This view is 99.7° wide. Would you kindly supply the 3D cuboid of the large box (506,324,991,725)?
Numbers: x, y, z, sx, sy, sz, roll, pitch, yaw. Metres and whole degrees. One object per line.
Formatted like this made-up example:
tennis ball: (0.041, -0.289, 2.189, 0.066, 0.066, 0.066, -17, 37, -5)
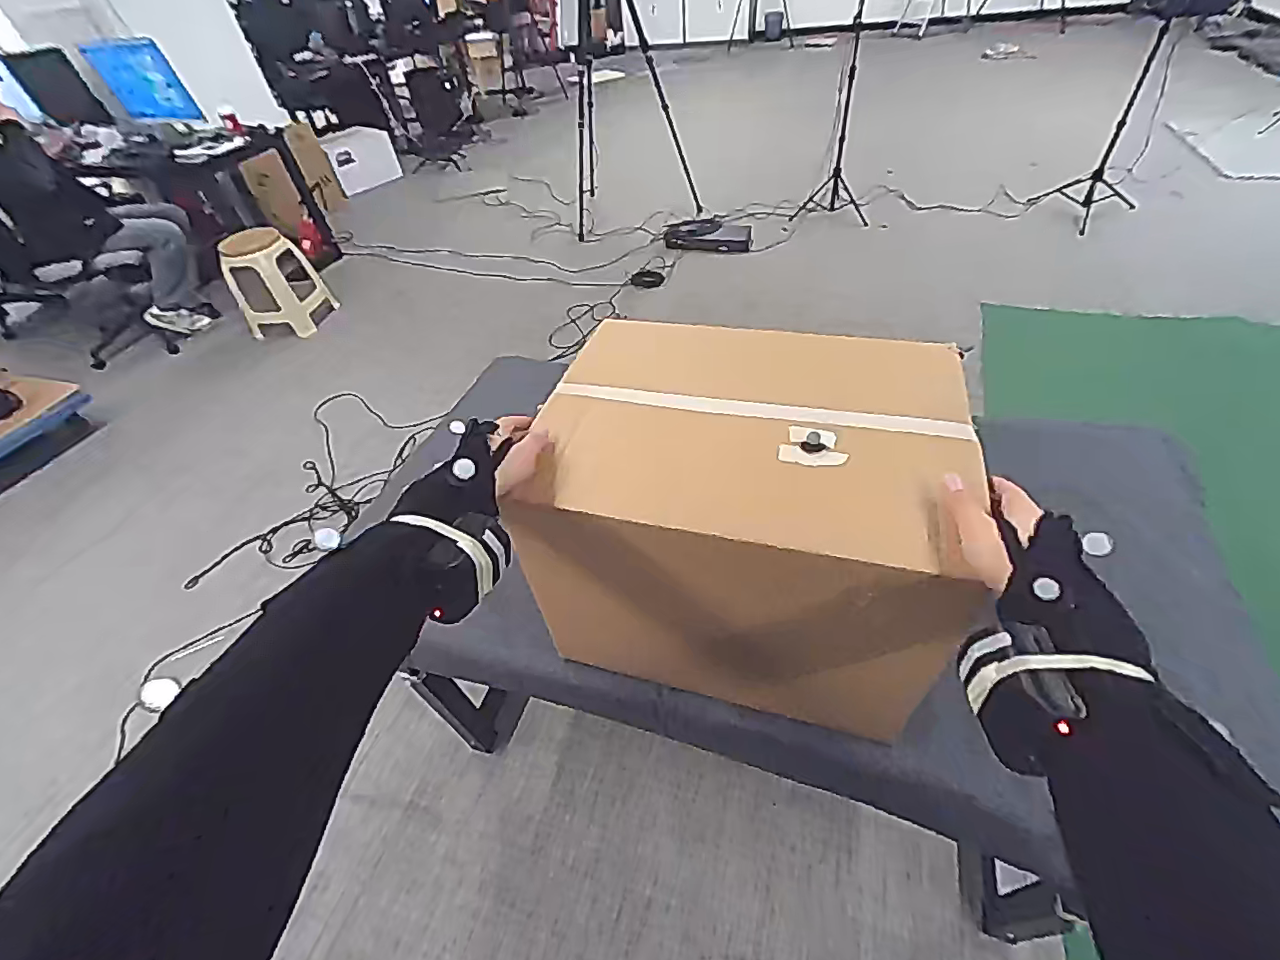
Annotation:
large box: (0.116, 0.039, 0.643, 0.408, 0.320, 0.320, 9, 47, 15)
